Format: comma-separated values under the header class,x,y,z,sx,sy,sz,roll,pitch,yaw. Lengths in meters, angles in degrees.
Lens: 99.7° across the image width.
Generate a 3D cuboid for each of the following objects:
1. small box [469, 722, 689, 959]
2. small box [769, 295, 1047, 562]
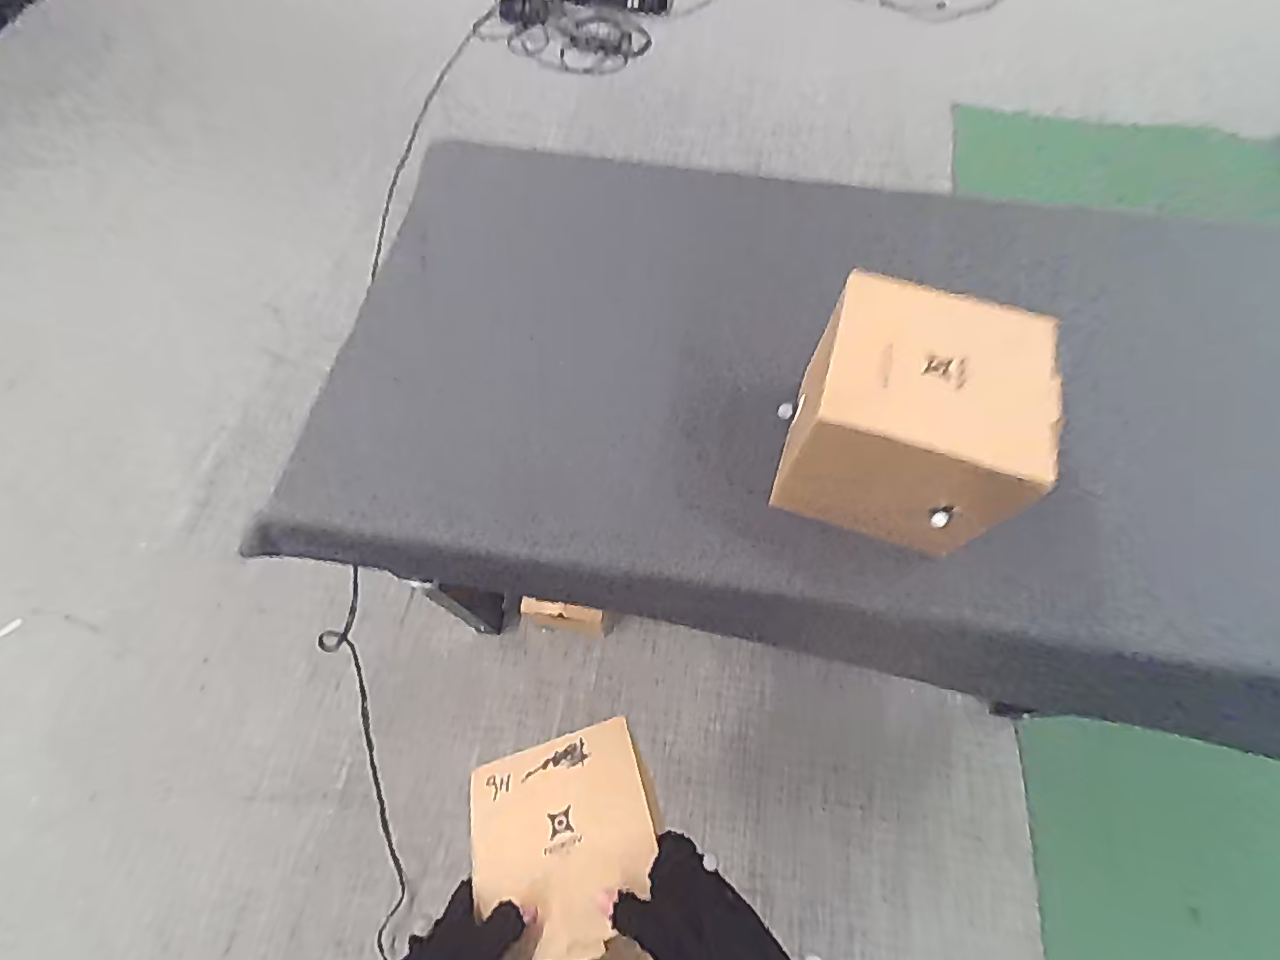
class,x,y,z,sx,sy,sz,roll,pitch,yaw
small box,-0.058,0.381,0.536,0.168,0.176,0.179,-17,41,-5
small box,0.240,-0.037,0.512,0.179,0.176,0.168,17,64,8
